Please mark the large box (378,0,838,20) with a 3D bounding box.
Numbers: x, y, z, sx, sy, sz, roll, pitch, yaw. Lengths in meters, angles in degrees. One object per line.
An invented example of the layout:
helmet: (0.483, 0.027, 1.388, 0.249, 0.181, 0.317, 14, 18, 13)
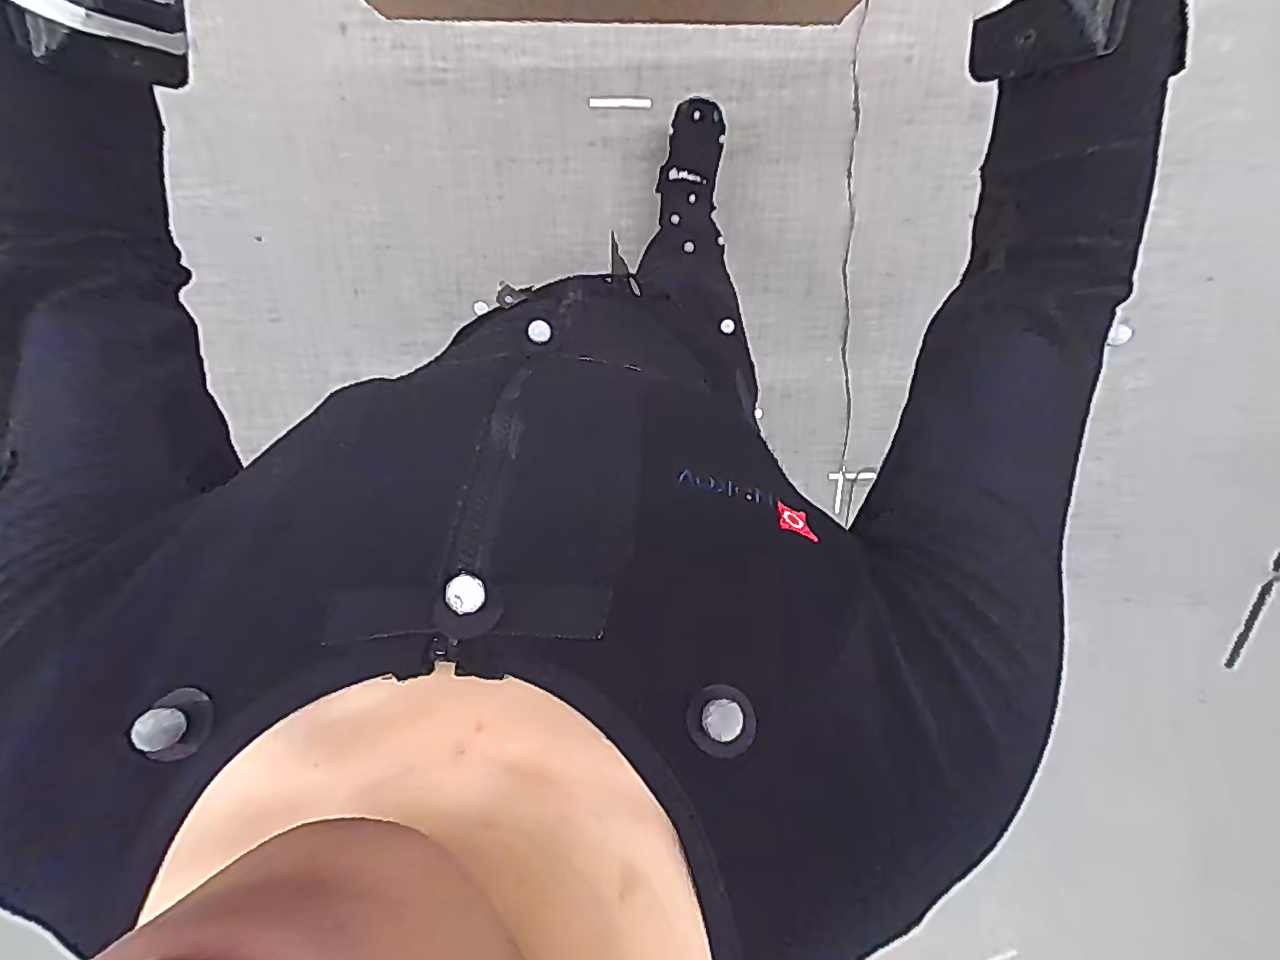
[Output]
large box: (-0.025, -0.490, 0.282, 0.408, 0.320, 0.320, 0, 115, 0)
